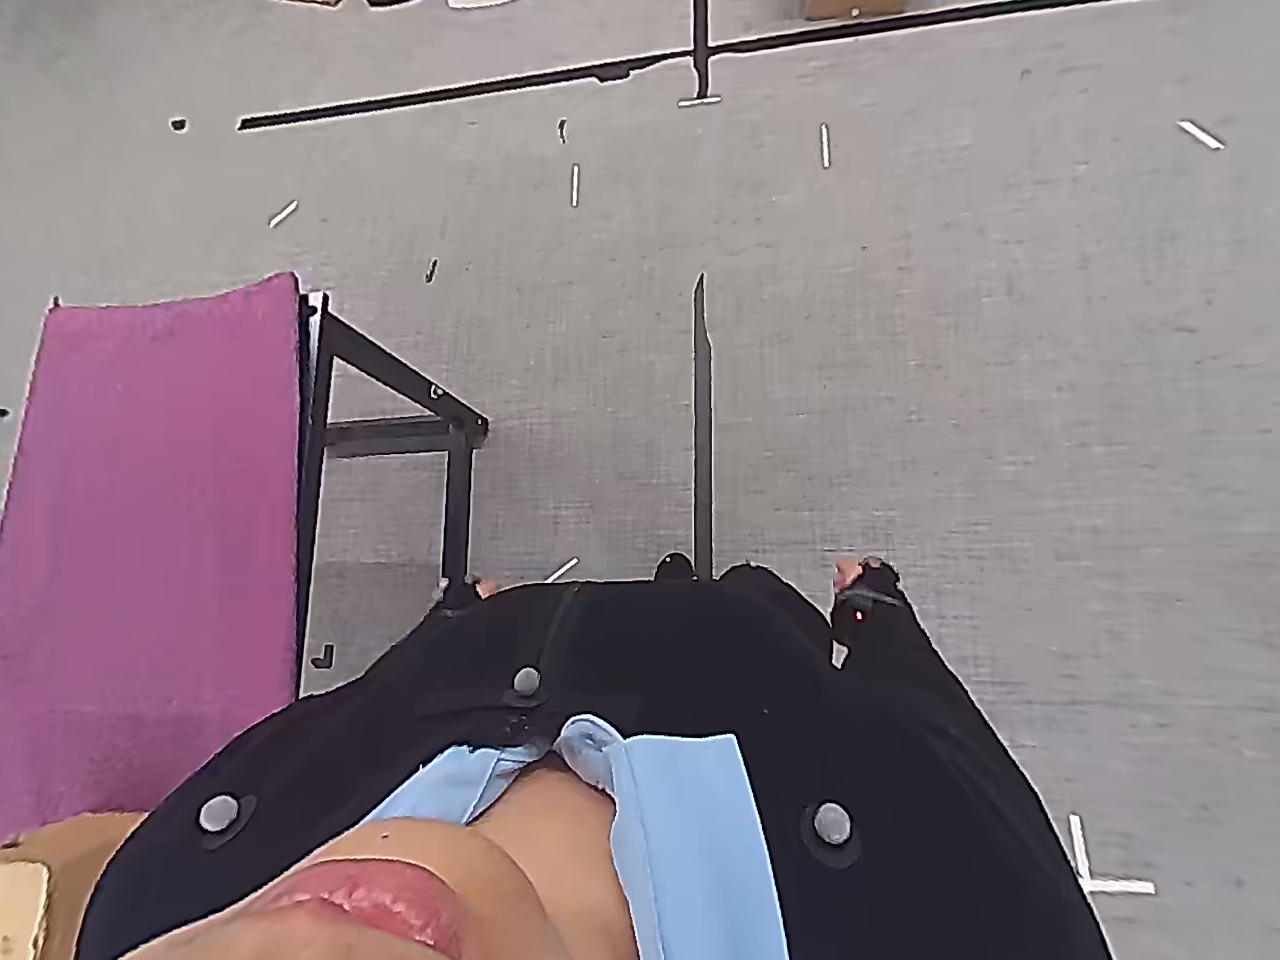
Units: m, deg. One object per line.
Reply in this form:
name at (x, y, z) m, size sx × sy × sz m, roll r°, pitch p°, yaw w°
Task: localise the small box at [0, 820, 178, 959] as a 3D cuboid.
small box at (-0.782, 0.576, 0.722) m, size 0.179 × 0.176 × 0.168 m, roll -5°, pitch 77°, yaw 7°
